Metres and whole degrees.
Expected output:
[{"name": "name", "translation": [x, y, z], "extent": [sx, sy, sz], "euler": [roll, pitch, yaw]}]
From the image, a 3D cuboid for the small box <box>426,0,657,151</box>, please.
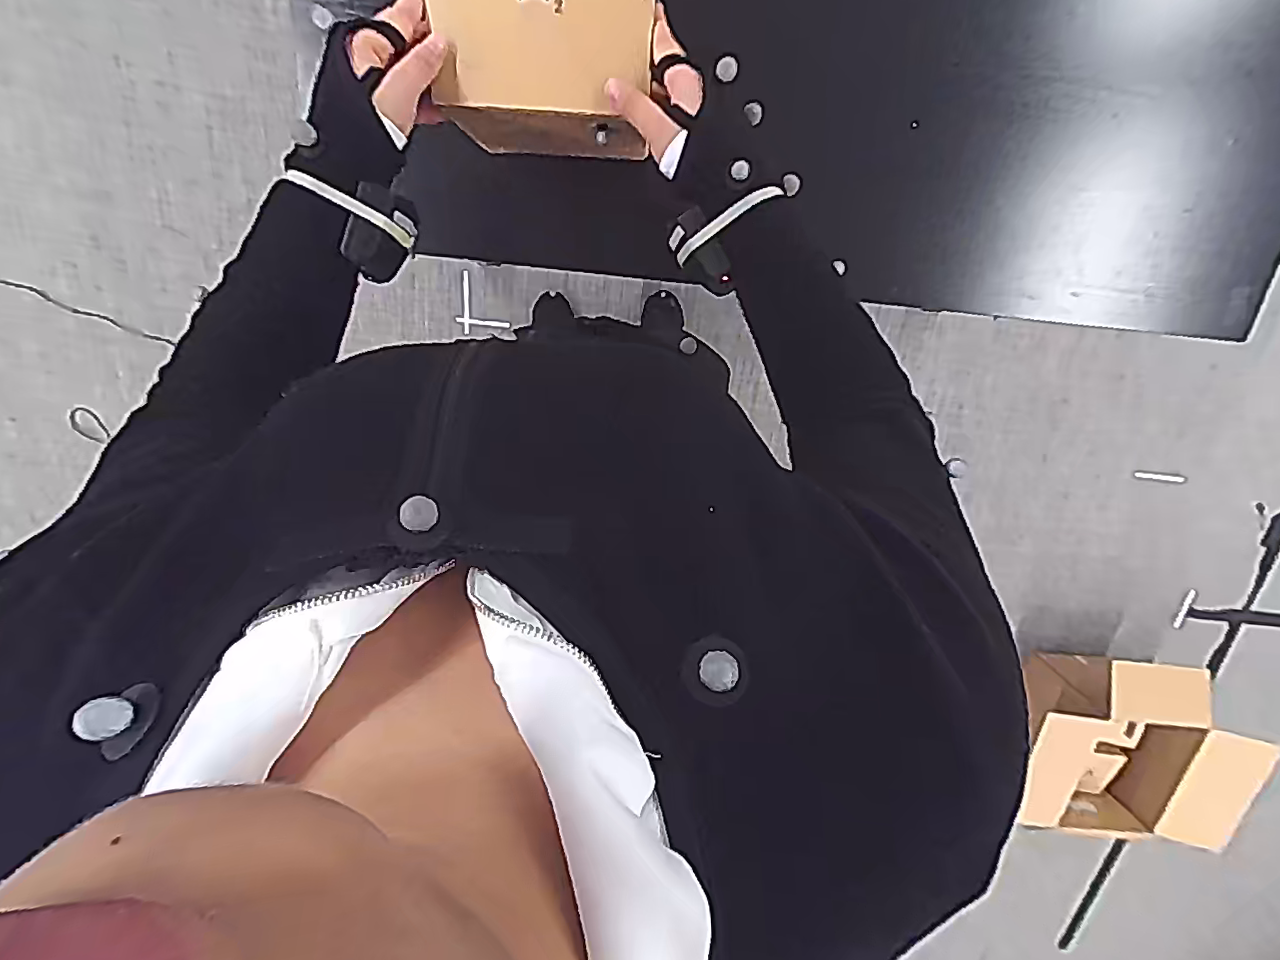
[{"name": "small box", "translation": [-0.075, -0.401, 0.474], "extent": [0.179, 0.176, 0.168], "euler": [1, 111, -2]}]
